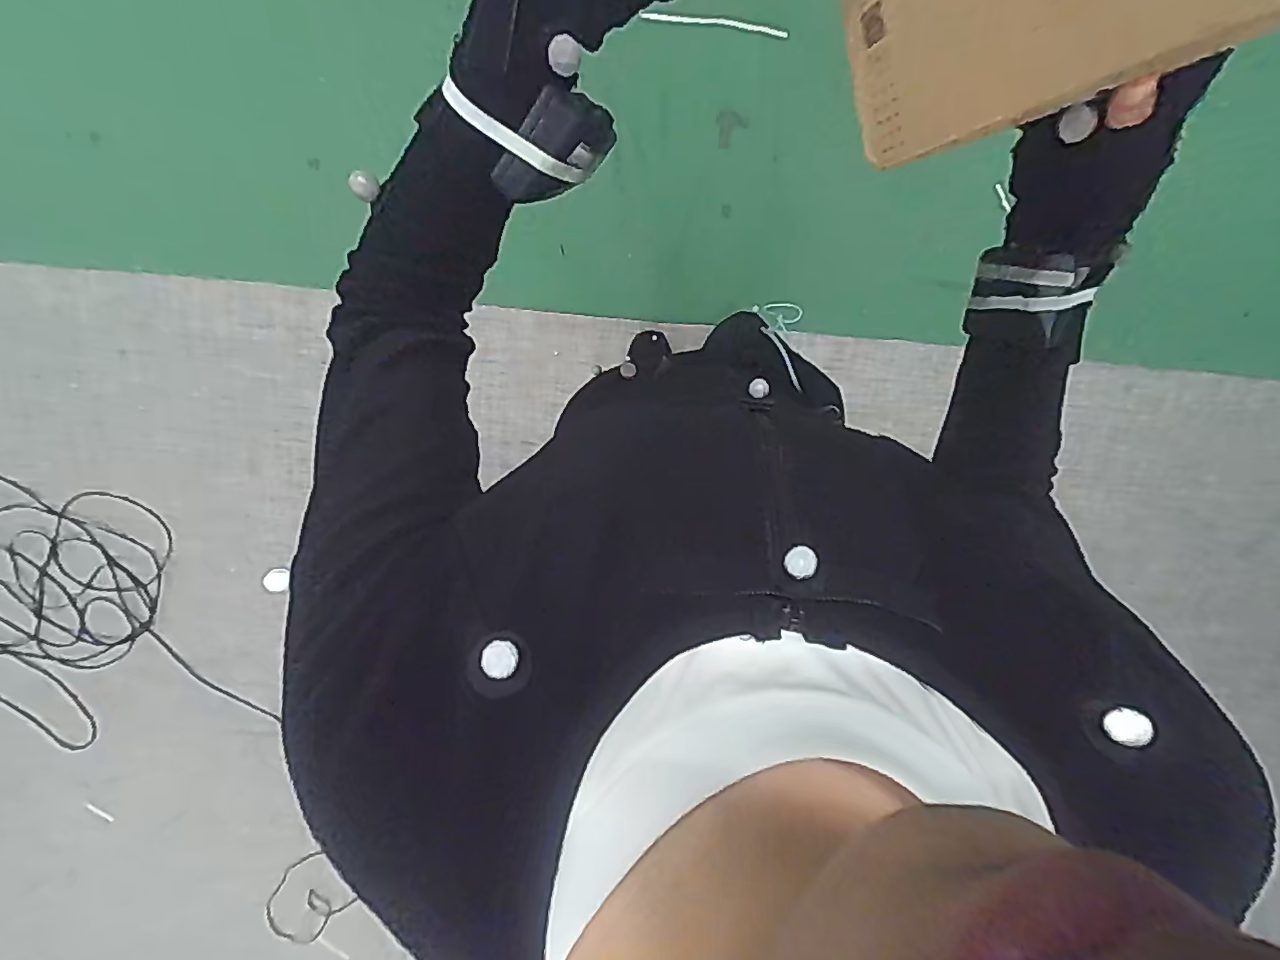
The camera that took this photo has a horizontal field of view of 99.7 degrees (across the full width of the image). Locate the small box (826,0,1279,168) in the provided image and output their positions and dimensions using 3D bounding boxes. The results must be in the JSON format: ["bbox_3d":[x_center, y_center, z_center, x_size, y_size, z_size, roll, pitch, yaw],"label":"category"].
[{"bbox_3d":[0.187,-0.244,0.196,0.179,0.176,0.168,-23,109,-8],"label":"small box"}]
